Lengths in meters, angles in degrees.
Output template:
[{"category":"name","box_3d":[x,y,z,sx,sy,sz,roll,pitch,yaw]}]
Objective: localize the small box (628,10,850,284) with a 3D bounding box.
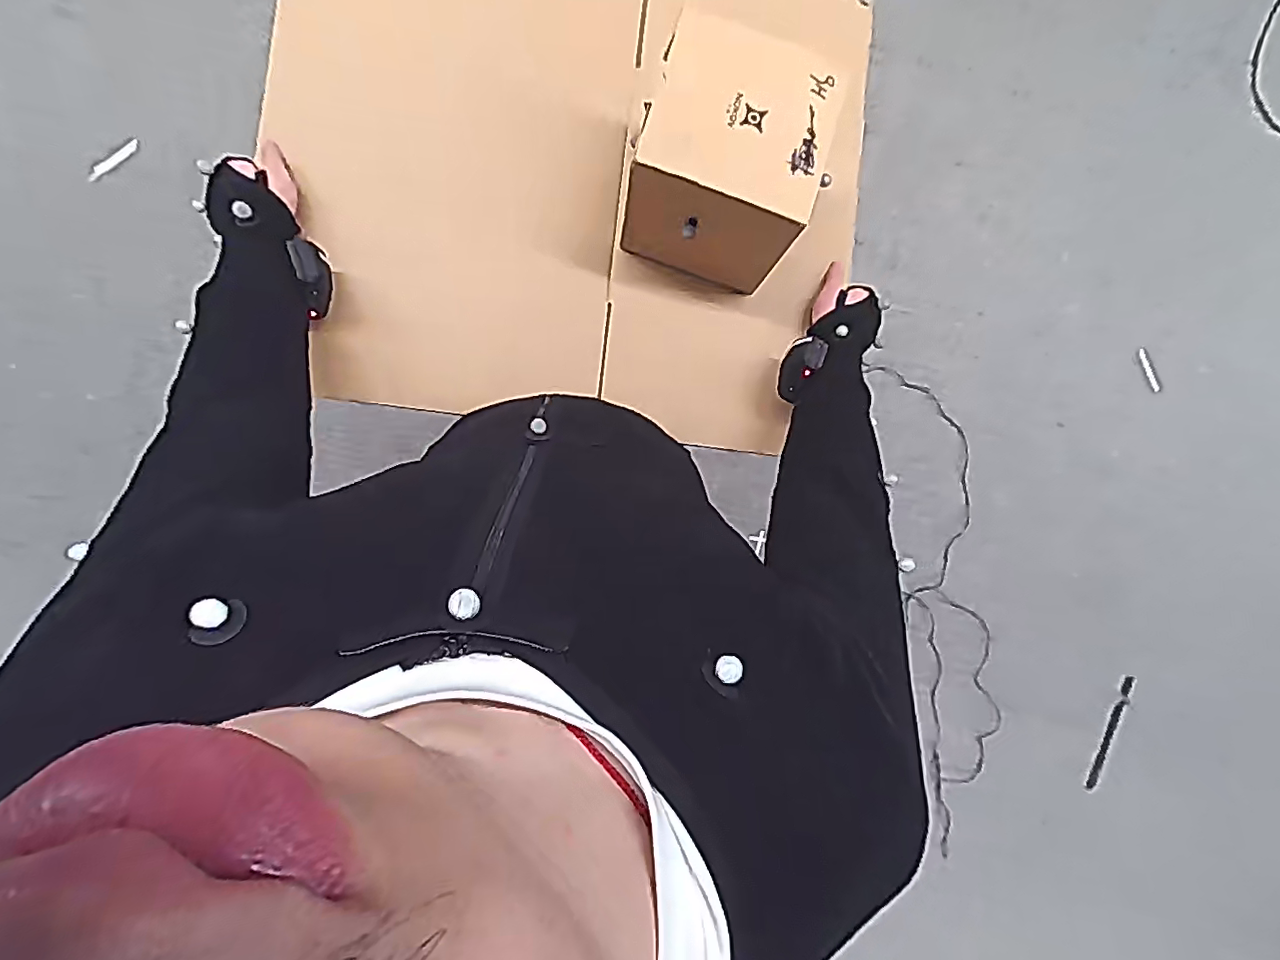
[{"category":"small box","box_3d":[0.092,-0.343,0.594,0.179,0.176,0.168,18,86,-4]}]
